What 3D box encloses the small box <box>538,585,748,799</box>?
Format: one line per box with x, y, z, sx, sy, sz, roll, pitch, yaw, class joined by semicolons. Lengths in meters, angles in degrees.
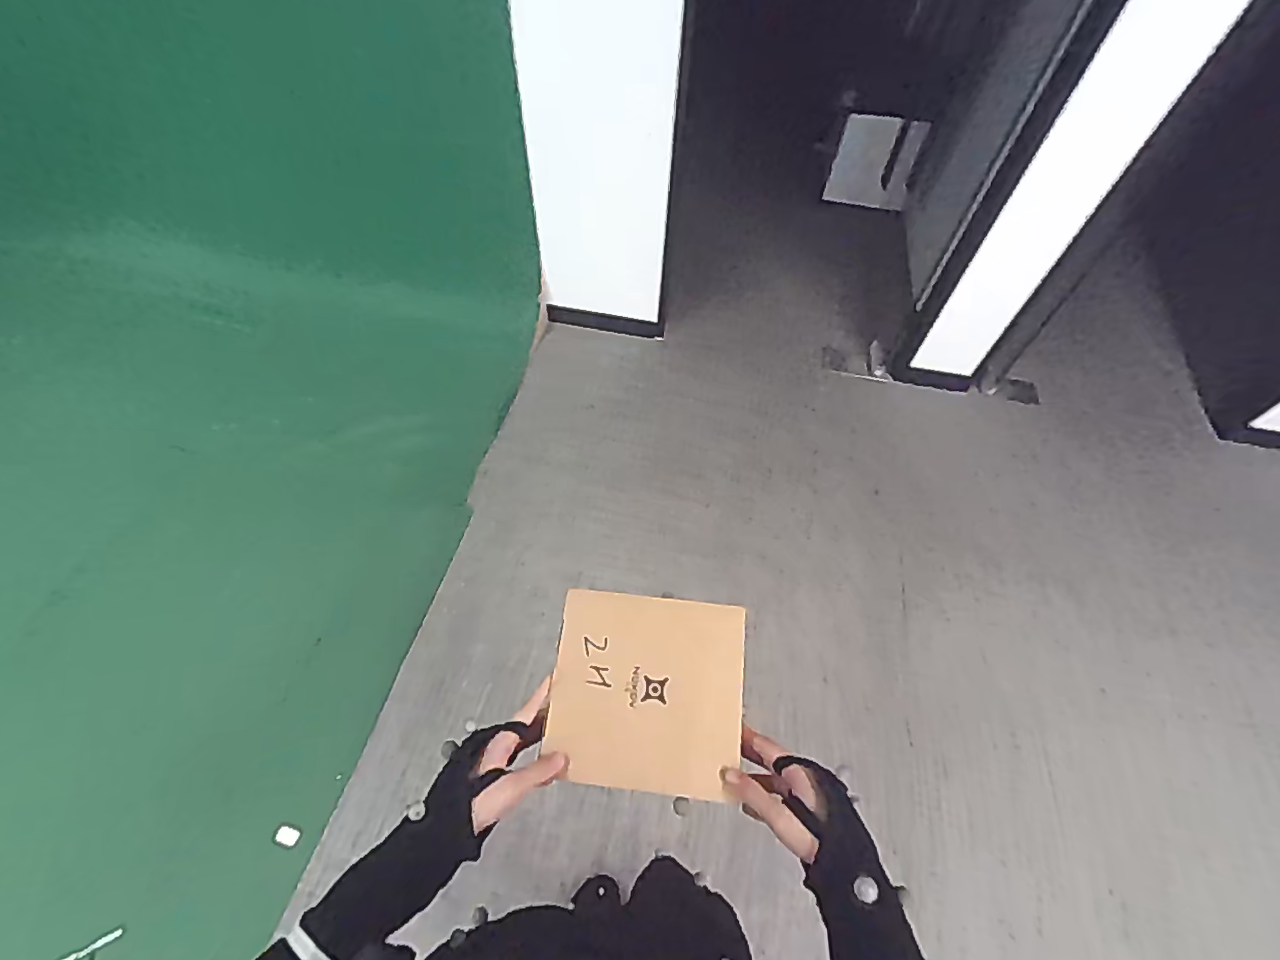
0.010;0.218;0.562;0.179;0.176;0.168;5;65;5;small box
